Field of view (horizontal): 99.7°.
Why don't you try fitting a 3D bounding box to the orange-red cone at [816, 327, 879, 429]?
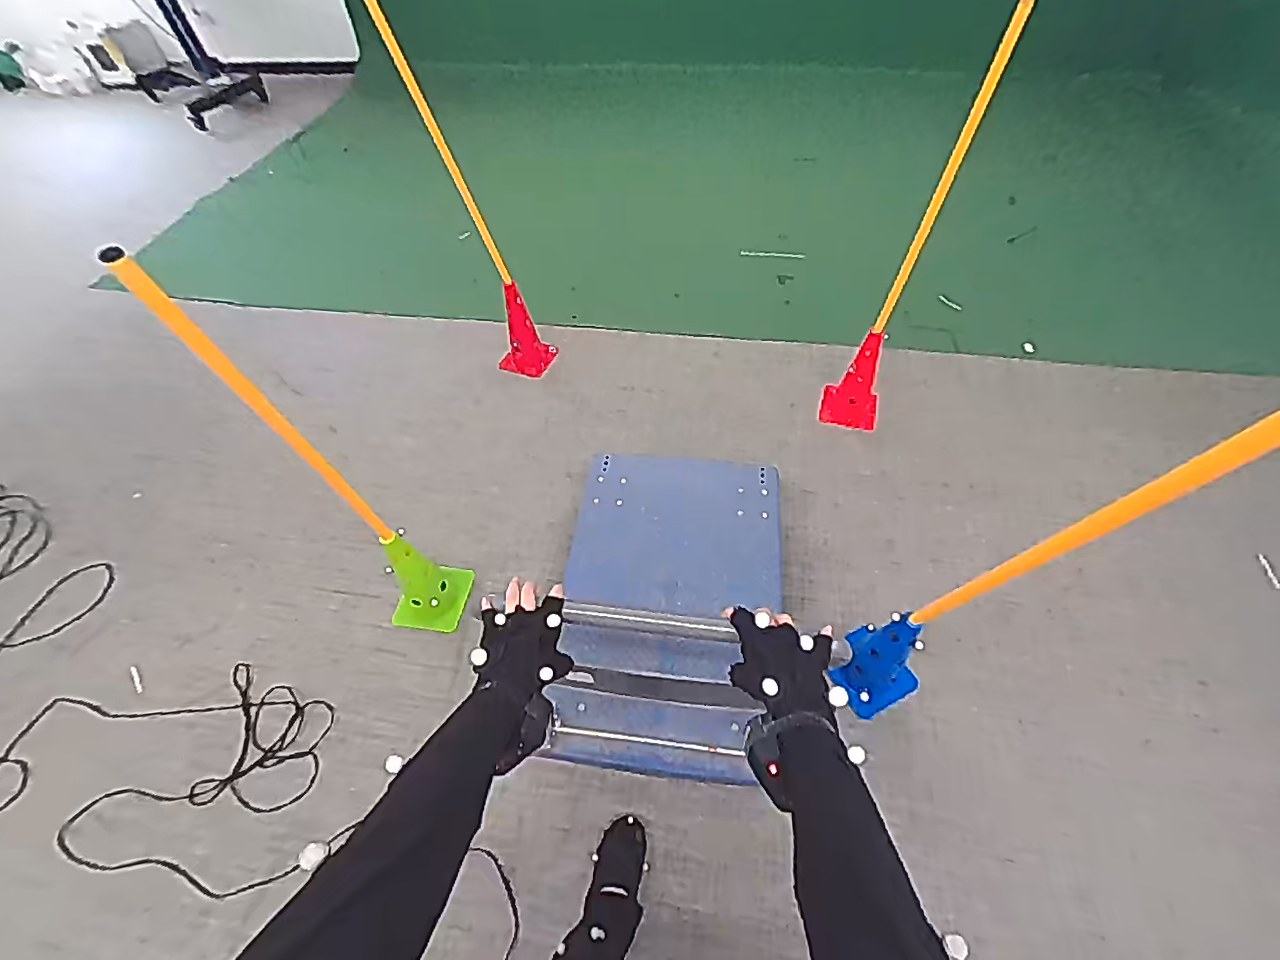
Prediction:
[{"bbox_3d":[0.761,-0.377,1.882,0.198,0.360,0.199,15,56,14],"label":"orange-red cone"}]
